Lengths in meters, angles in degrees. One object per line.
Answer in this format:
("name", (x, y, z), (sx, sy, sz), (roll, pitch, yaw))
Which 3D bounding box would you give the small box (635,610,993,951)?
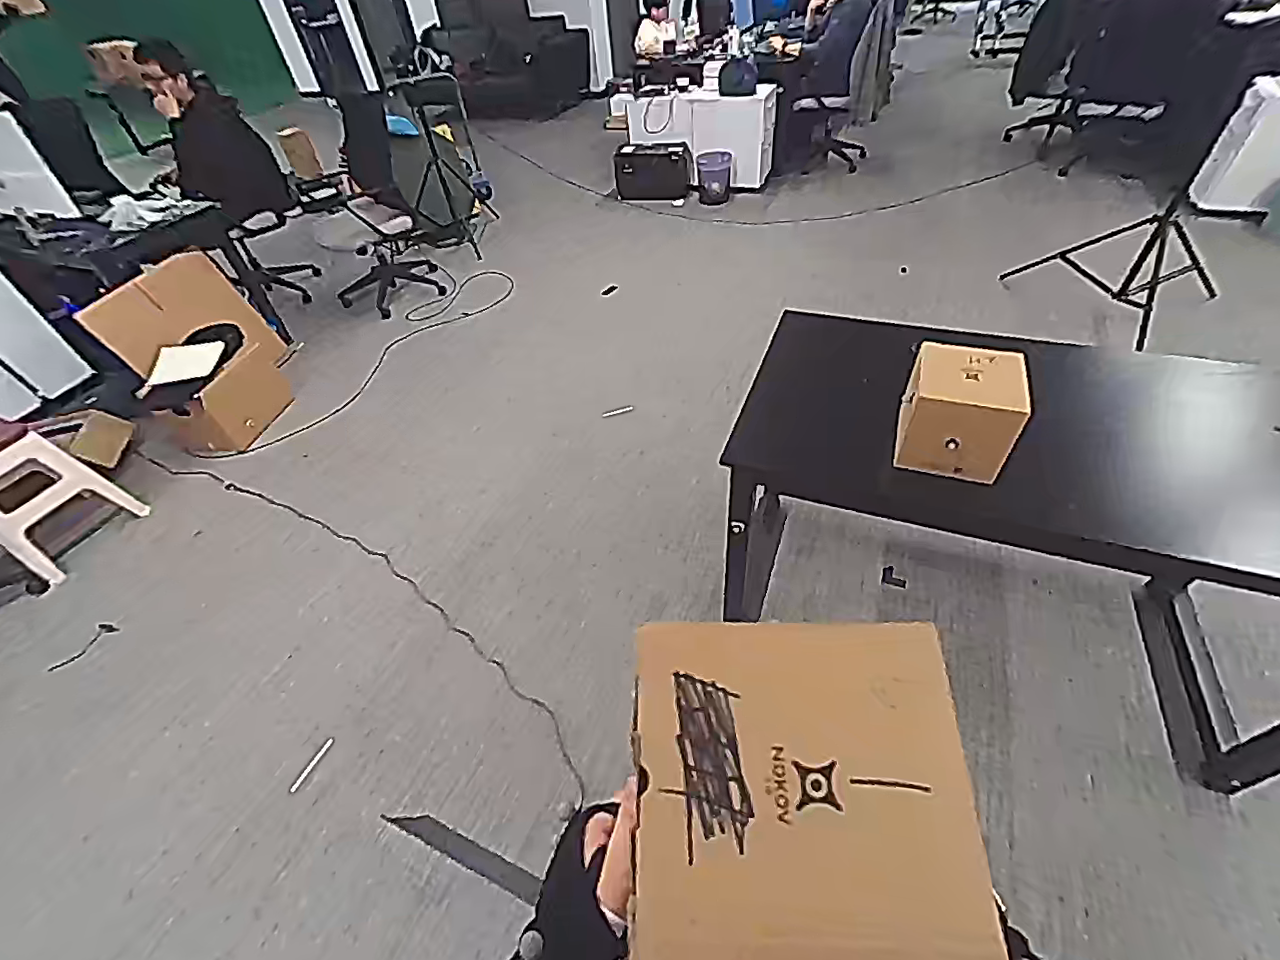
("small box", (0.090, 0.189, 0.371), (0.179, 0.176, 0.168), (-2, 65, 2))

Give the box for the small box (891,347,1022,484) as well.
("small box", (0.573, -0.118, 0.995), (0.168, 0.176, 0.179), (13, 48, 18))
